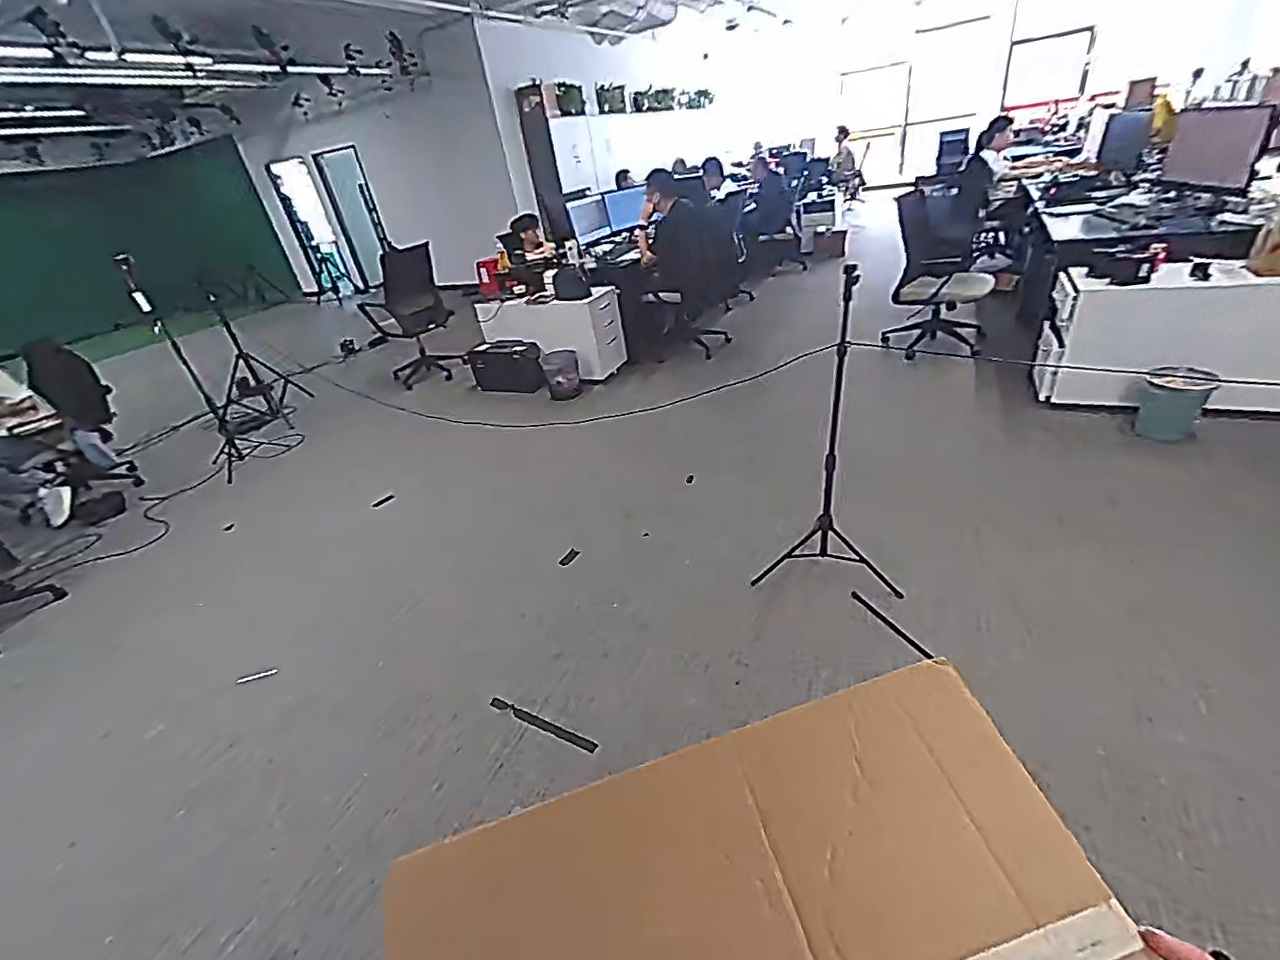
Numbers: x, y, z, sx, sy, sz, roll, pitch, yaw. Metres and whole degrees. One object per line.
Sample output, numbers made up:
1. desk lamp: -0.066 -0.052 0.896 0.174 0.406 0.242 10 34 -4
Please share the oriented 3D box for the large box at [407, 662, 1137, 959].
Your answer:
1. large box: 0.093 0.397 0.400 0.408 0.320 0.320 -18 52 -4
